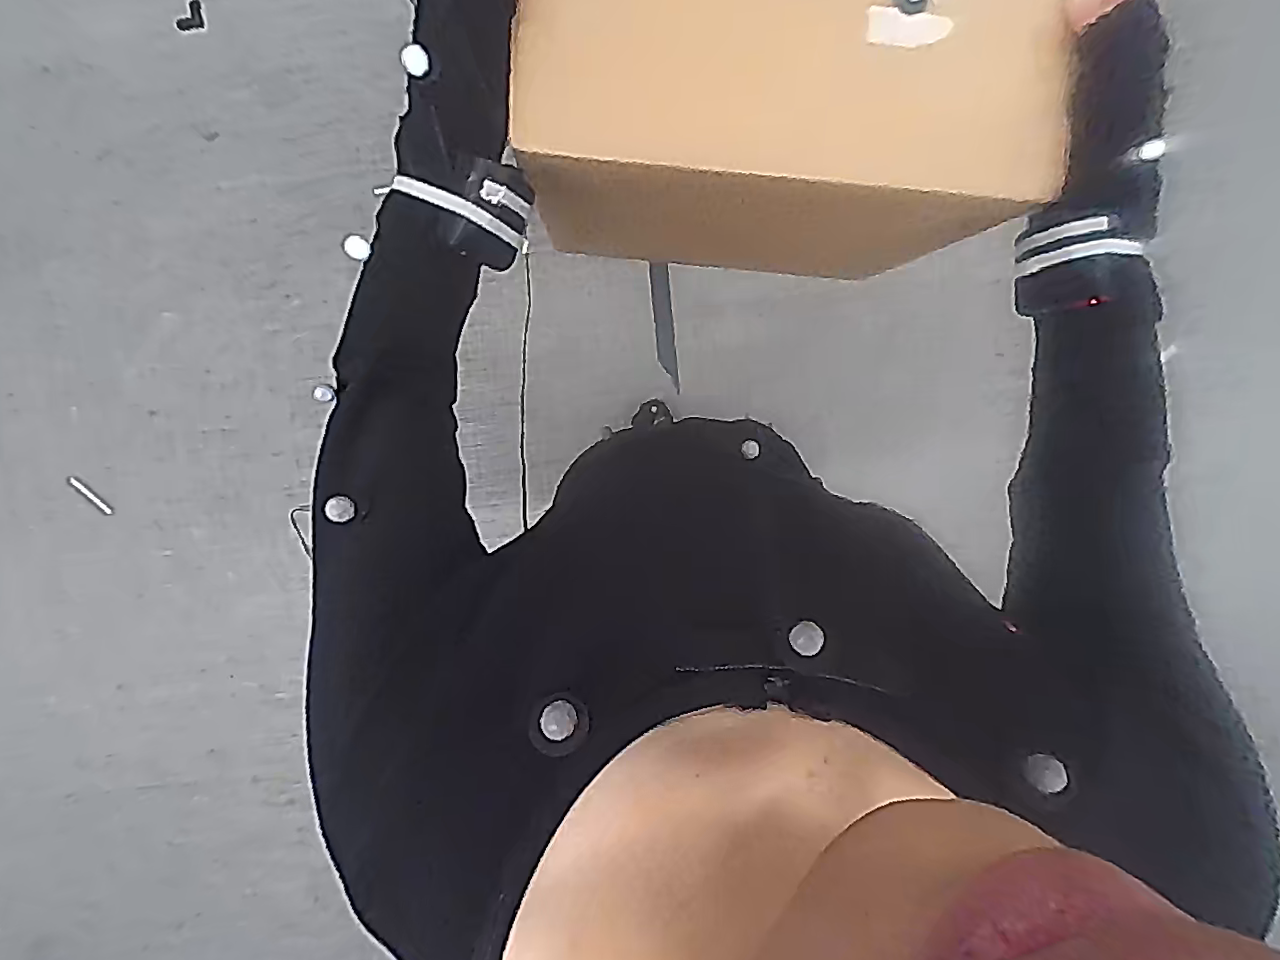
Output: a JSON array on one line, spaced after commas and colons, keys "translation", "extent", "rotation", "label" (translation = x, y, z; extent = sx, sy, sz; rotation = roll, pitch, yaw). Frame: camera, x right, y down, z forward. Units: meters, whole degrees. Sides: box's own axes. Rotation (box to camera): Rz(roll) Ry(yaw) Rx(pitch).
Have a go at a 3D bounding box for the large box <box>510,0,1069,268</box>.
[{"translation": [0.101, -0.405, 0.519], "extent": [0.408, 0.320, 0.320], "rotation": [3, 100, -4], "label": "large box"}]
